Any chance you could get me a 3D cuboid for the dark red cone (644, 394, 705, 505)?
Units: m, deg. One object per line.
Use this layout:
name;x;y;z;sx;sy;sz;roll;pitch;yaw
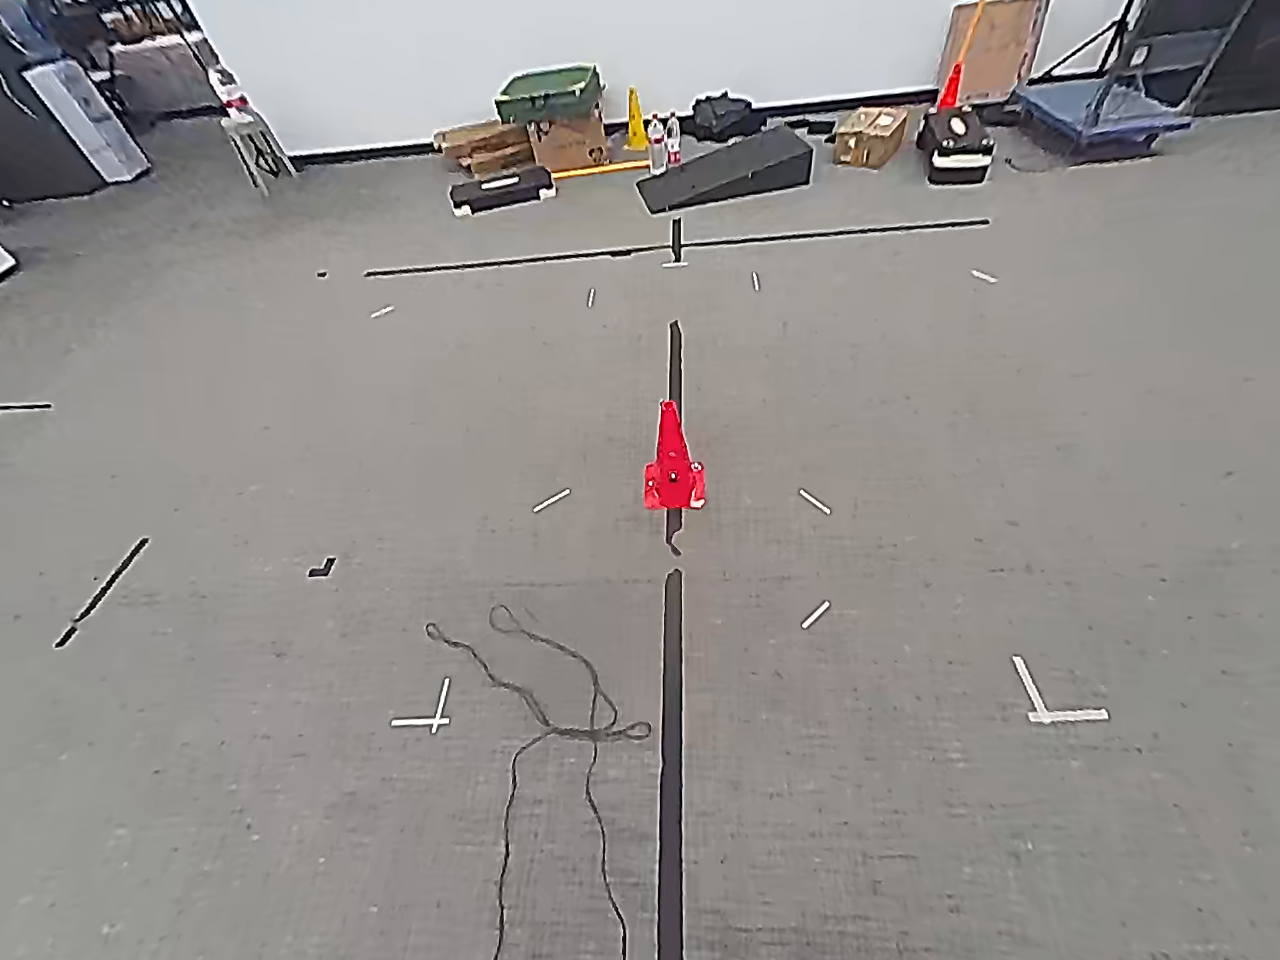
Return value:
dark red cone;0.093;-0.107;1.662;0.201;0.394;0.202;-3;49;6
